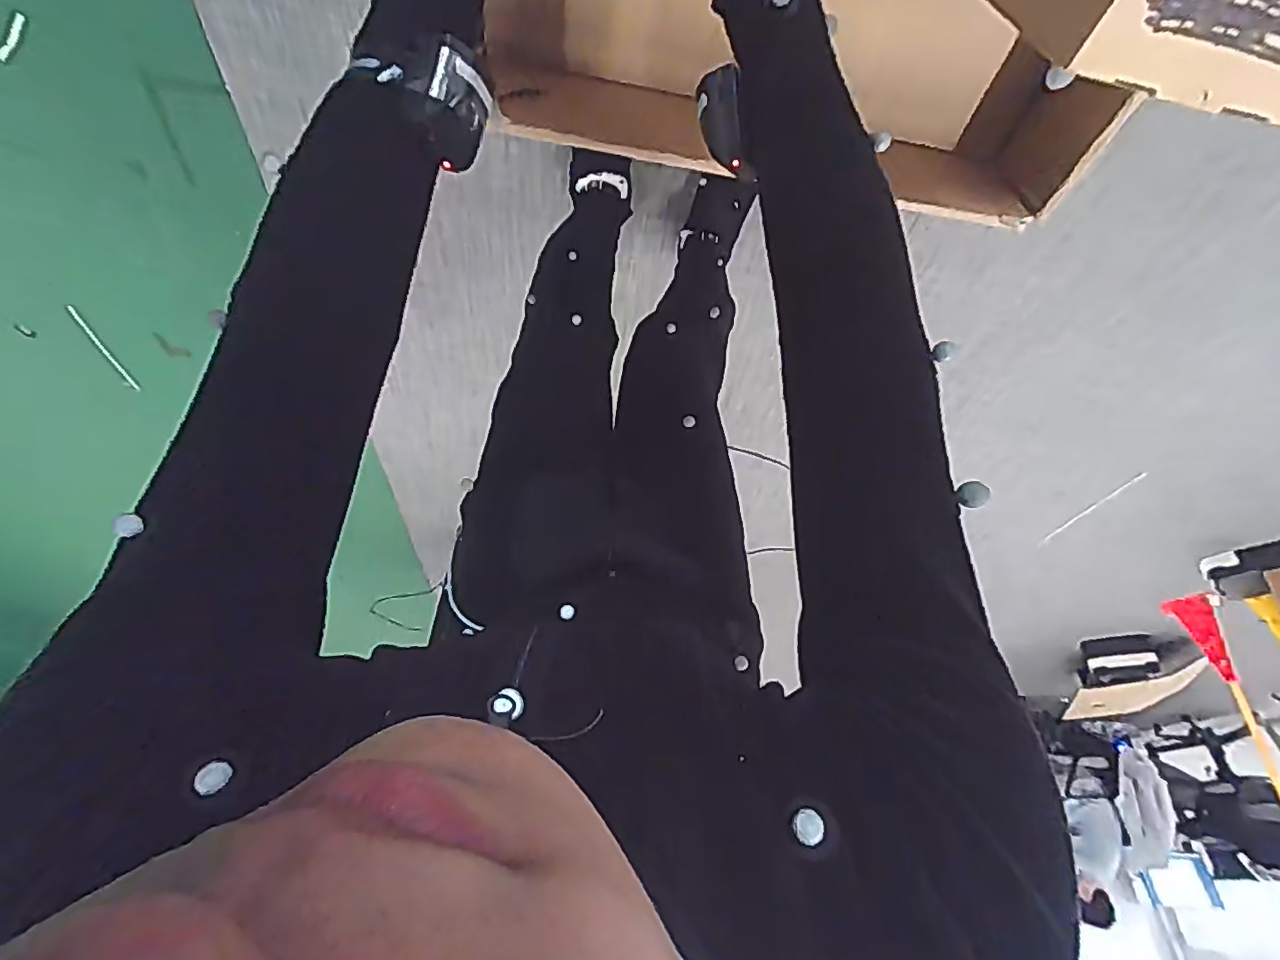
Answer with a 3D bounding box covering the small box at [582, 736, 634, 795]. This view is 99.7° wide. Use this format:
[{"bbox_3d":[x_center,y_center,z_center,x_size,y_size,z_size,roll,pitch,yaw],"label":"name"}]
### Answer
[{"bbox_3d":[-0.119,1.057,2.003,0.179,0.176,0.168,5,145,-1],"label":"small box"}]
